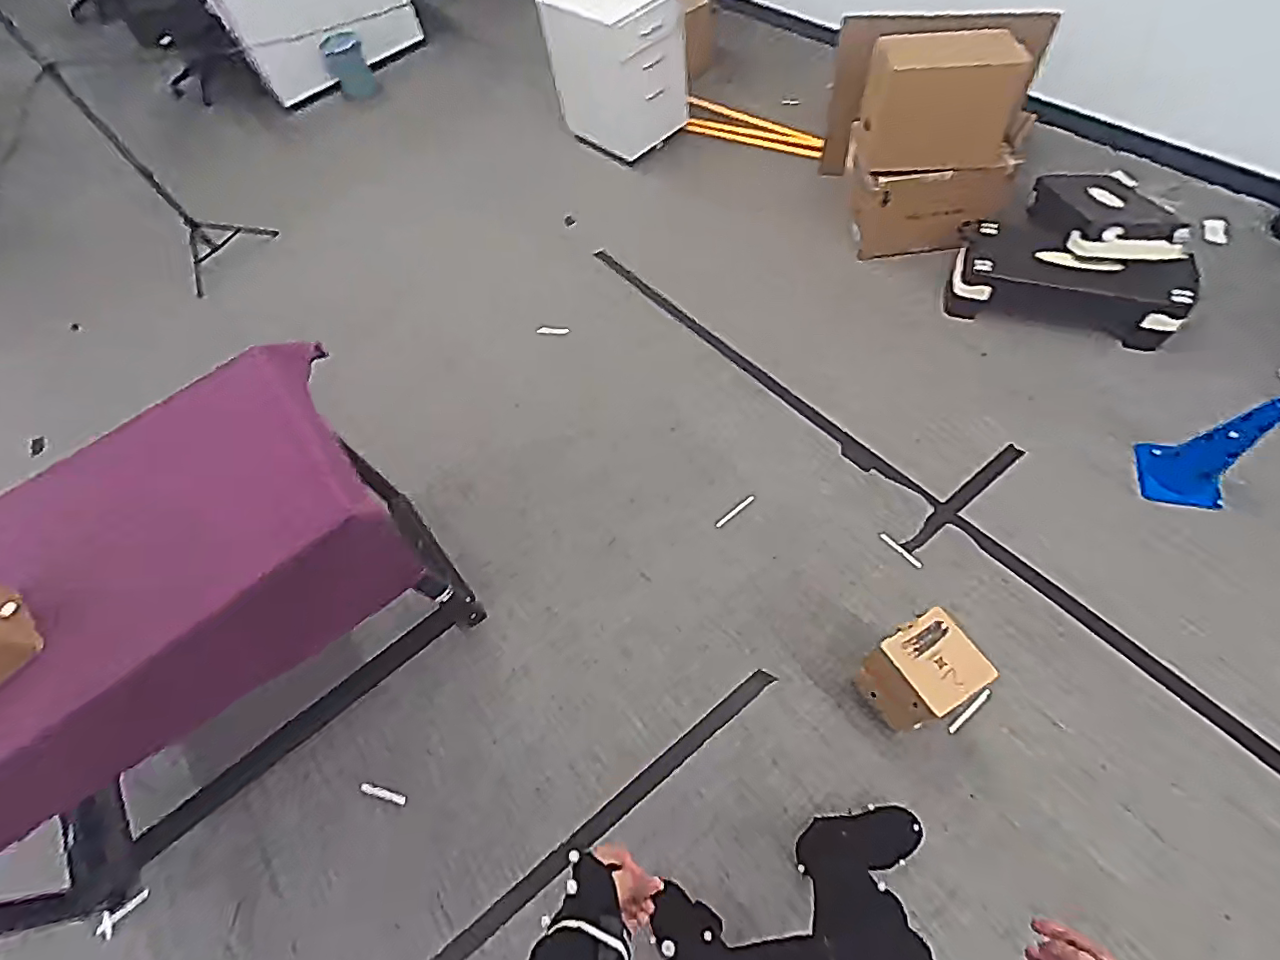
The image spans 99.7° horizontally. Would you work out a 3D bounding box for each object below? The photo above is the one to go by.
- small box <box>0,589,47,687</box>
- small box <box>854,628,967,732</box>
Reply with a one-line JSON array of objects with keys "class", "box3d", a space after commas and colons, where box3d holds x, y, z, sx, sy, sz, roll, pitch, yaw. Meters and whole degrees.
[{"class": "small box", "box3d": [-1.178, 0.281, 0.901, 0.168, 0.176, 0.179, 35, 70, 24]}, {"class": "small box", "box3d": [0.660, 0.504, 1.348, 0.179, 0.176, 0.168, -34, 62, -11]}]
